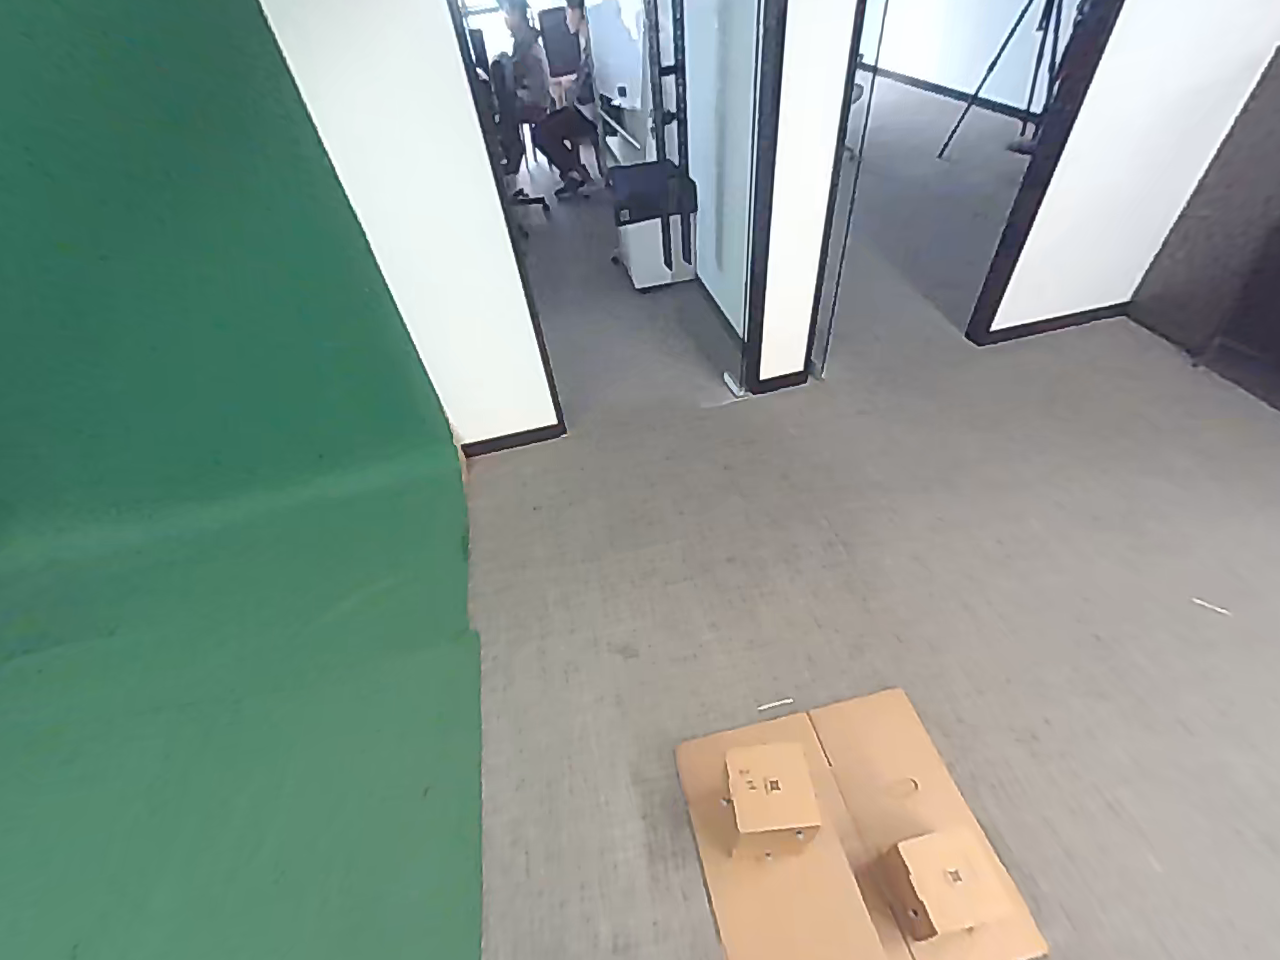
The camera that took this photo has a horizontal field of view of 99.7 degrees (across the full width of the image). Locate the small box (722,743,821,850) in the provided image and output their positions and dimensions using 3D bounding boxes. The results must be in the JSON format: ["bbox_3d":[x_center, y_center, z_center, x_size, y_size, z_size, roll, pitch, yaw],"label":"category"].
[{"bbox_3d":[0.285,0.710,1.211,0.179,0.176,0.168,-7,45,1],"label":"small box"}]

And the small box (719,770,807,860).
[{"bbox_3d":[0.296,0.821,1.334,0.179,0.176,0.168,-6,45,1],"label":"small box"}]

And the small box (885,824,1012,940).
[{"bbox_3d":[0.672,0.902,1.210,0.179,0.176,0.168,-12,46,-4],"label":"small box"}]
